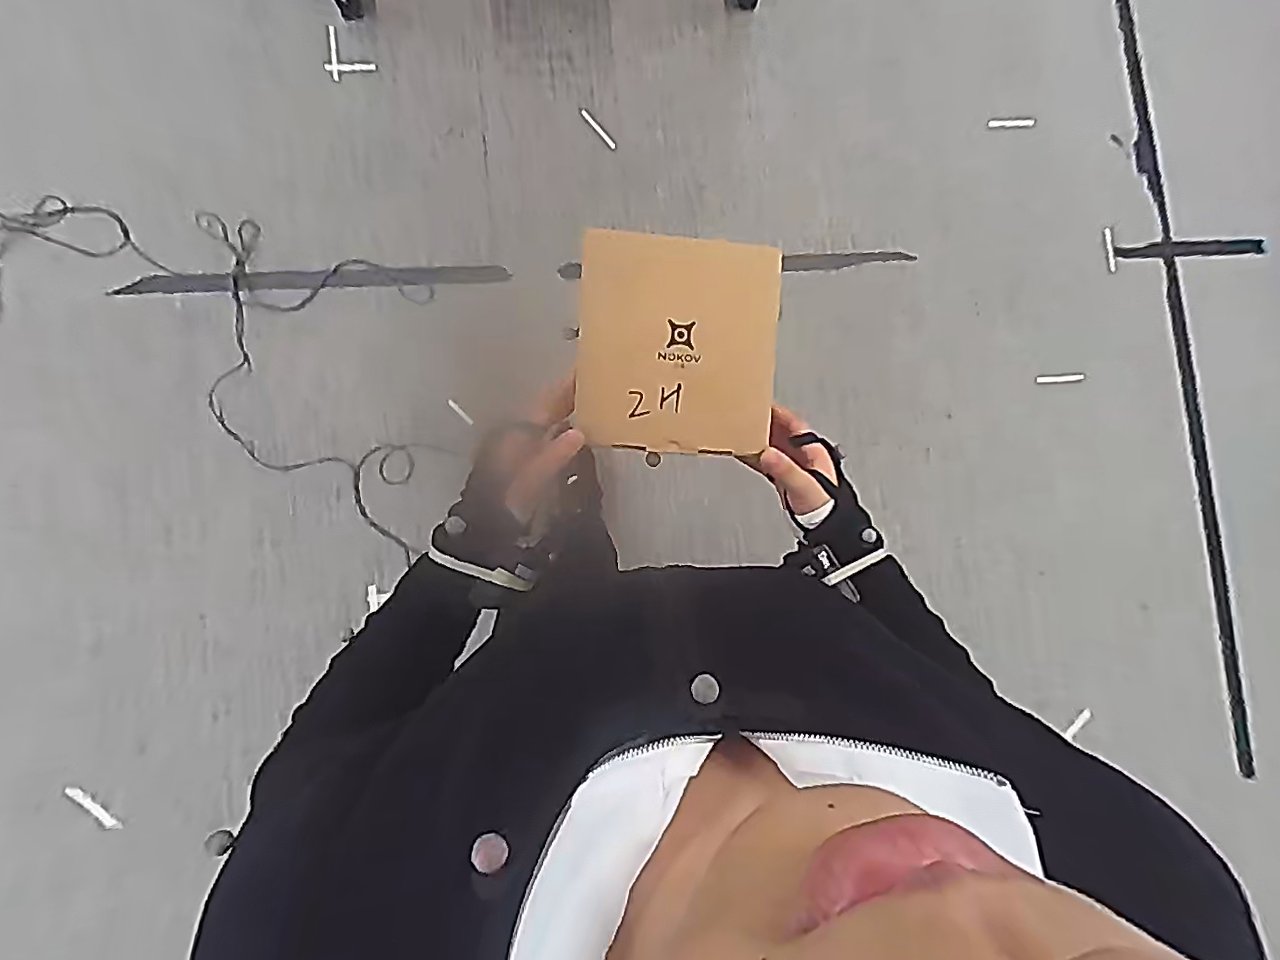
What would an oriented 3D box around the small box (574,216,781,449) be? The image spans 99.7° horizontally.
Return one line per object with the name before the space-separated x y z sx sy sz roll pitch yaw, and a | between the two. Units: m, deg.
small box | 0.024 -0.124 0.523 0.168 0.176 0.179 3 92 -6
